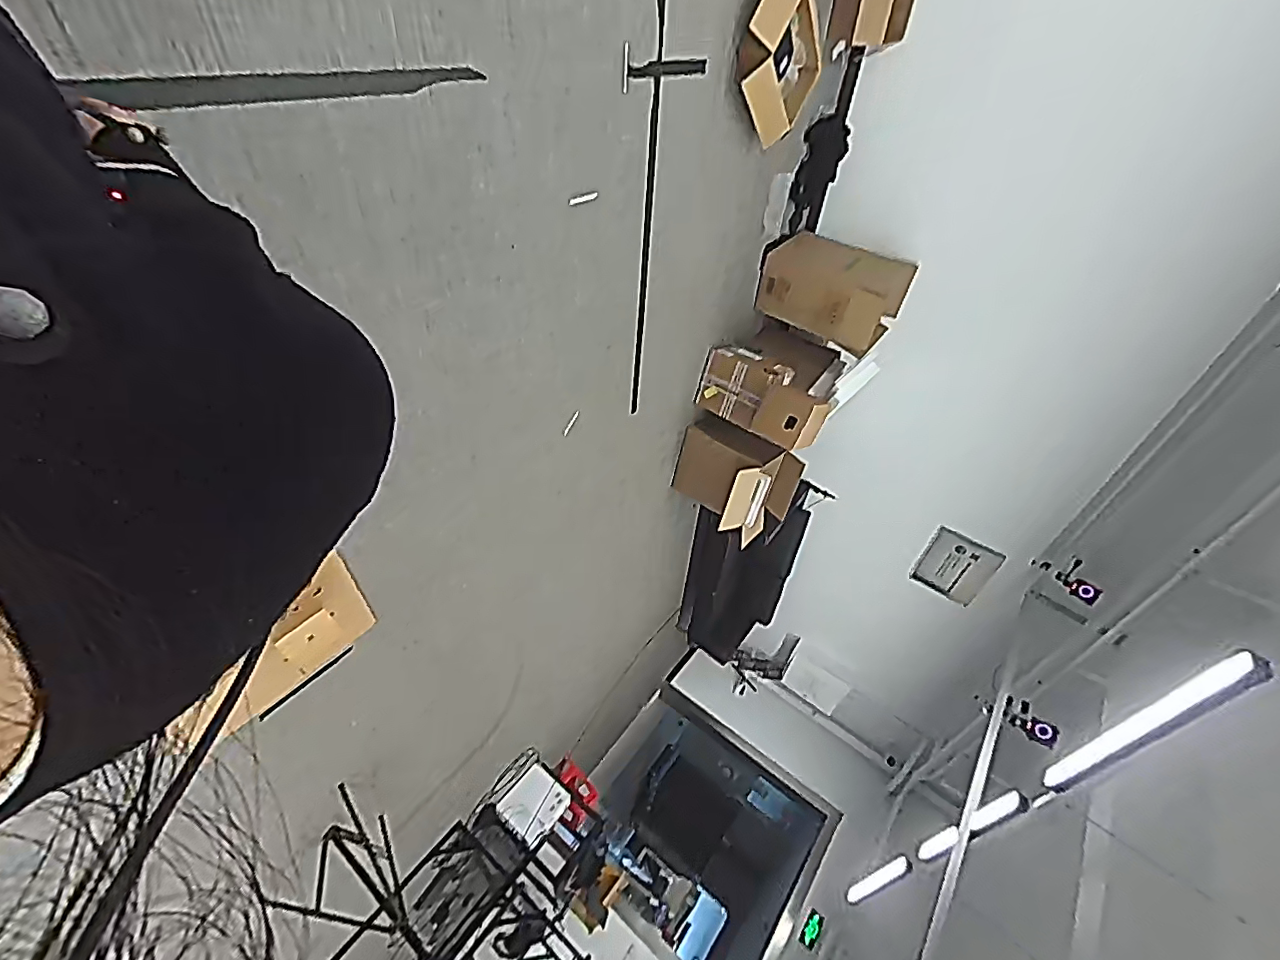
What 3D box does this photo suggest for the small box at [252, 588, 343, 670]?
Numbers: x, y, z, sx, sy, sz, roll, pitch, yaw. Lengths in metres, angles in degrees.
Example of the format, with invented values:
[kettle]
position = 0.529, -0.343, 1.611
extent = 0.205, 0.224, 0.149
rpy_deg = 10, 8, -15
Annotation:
[small box]
position = -1.129, 0.483, 1.783
extent = 0.168, 0.176, 0.179
rpy_deg = -42, 150, -34
